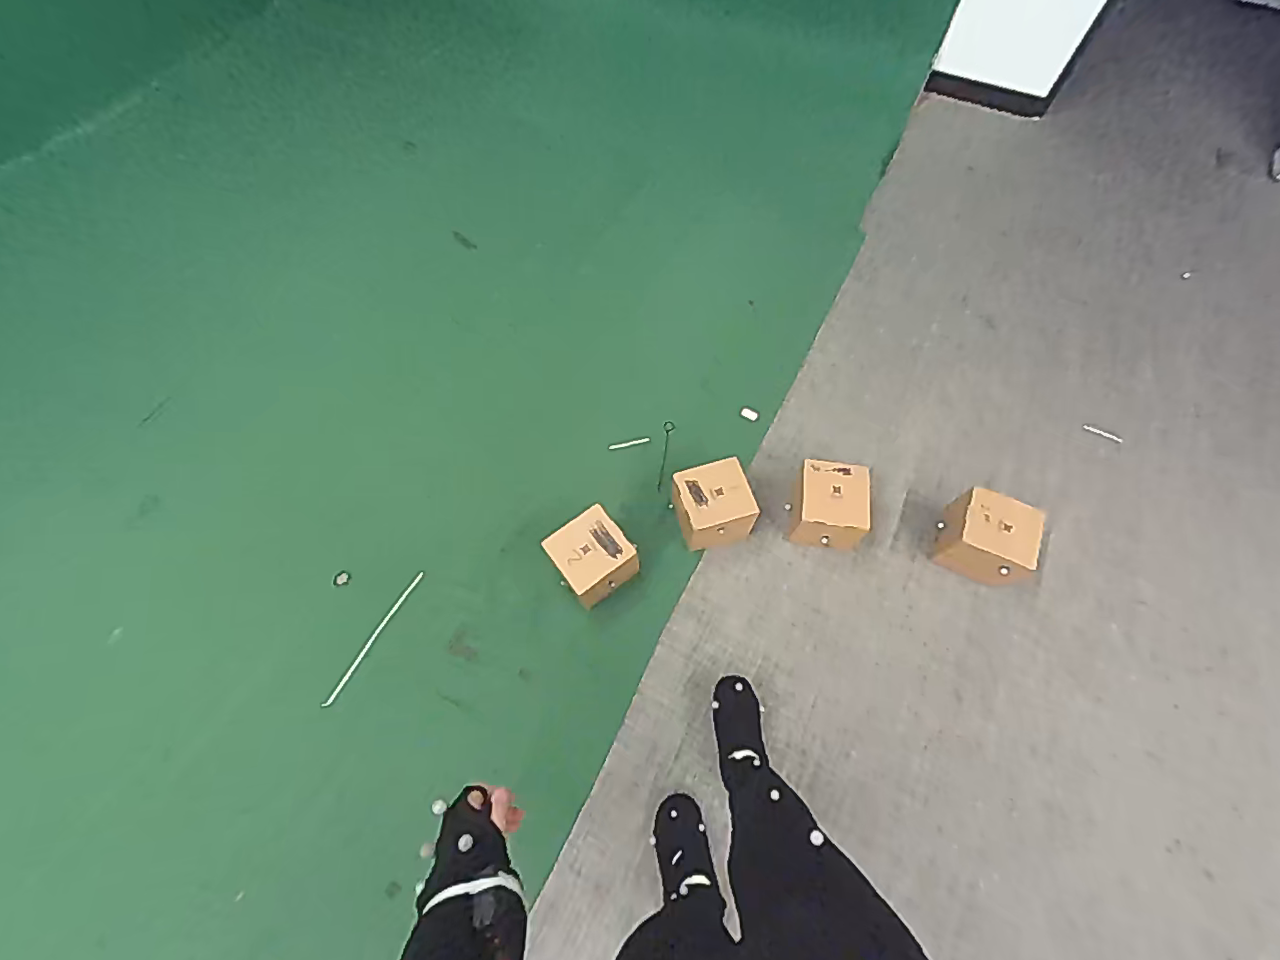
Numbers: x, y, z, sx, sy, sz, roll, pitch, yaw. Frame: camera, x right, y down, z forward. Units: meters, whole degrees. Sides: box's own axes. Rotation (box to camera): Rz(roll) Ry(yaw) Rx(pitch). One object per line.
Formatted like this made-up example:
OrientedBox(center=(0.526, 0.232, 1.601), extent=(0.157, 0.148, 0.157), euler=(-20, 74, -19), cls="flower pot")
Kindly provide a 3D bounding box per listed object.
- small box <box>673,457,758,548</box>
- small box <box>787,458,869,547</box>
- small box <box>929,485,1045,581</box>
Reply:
OrientedBox(center=(0.191, 0.065, 1.430), extent=(0.179, 0.176, 0.168), euler=(-15, 66, -7), cls="small box")
OrientedBox(center=(0.490, 0.065, 1.425), extent=(0.168, 0.176, 0.179), euler=(8, 66, 5), cls="small box")
OrientedBox(center=(0.878, 0.143, 1.380), extent=(0.179, 0.176, 0.168), euler=(23, 67, 11), cls="small box")
